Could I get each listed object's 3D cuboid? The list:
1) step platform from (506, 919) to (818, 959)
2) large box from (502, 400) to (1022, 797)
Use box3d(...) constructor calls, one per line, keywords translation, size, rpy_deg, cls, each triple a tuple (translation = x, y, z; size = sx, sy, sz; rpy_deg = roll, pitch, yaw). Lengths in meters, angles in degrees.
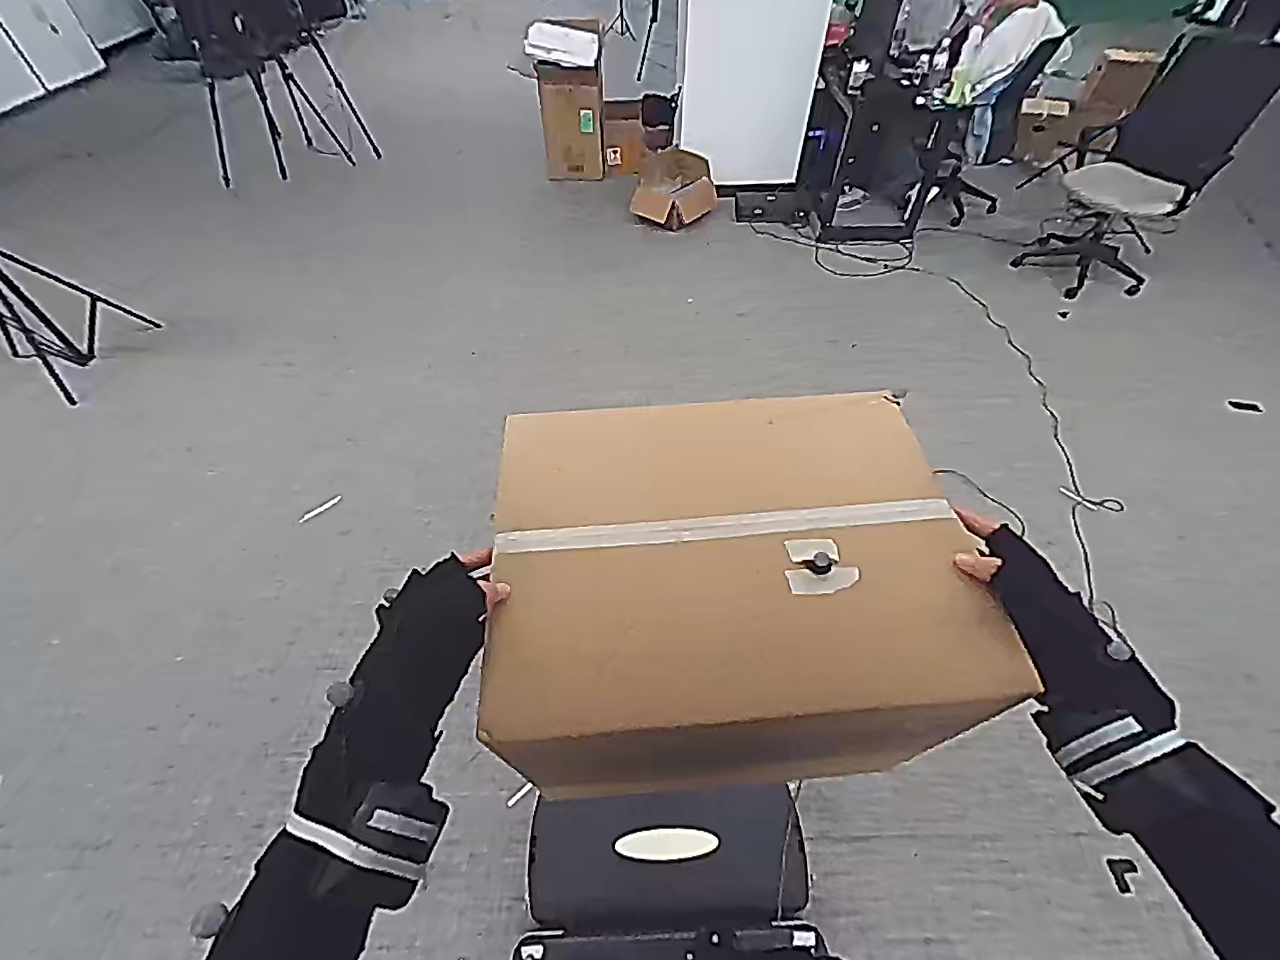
box3d(translation=(0.047, 1.108, 1.116), size=(0.684, 0.204, 0.286), rpy_deg=(-3, 50, 0), cls="step platform")
box3d(translation=(0.081, 0.139, 0.605), size=(0.408, 0.320, 0.320), rpy_deg=(-4, 53, -3), cls="large box")
